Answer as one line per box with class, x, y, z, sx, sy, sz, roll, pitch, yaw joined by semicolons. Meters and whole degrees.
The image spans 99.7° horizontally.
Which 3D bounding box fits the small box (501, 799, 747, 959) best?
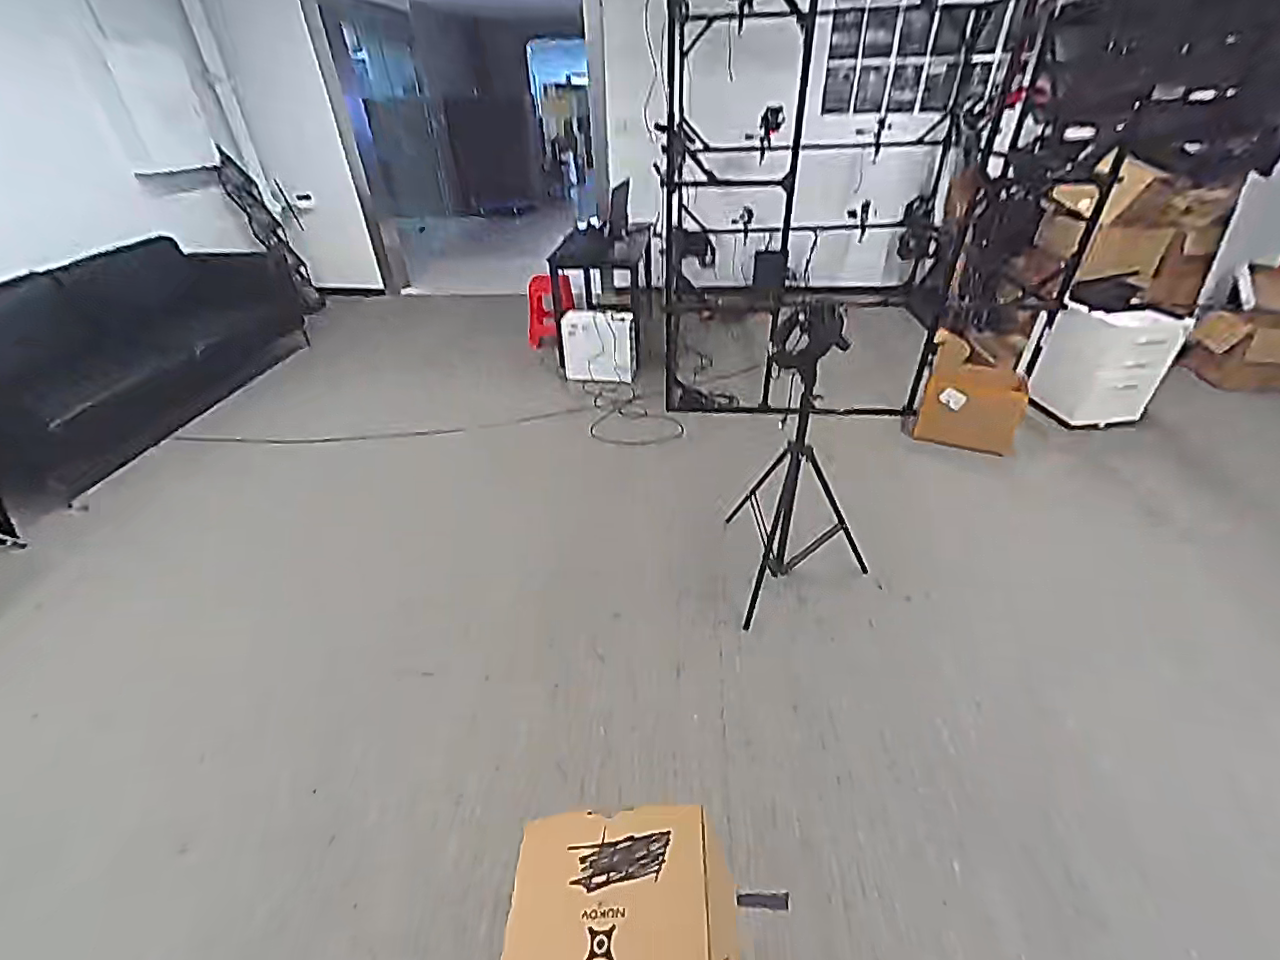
small box;-0.004;0.399;0.446;0.168;0.176;0.179;-11;34;10
